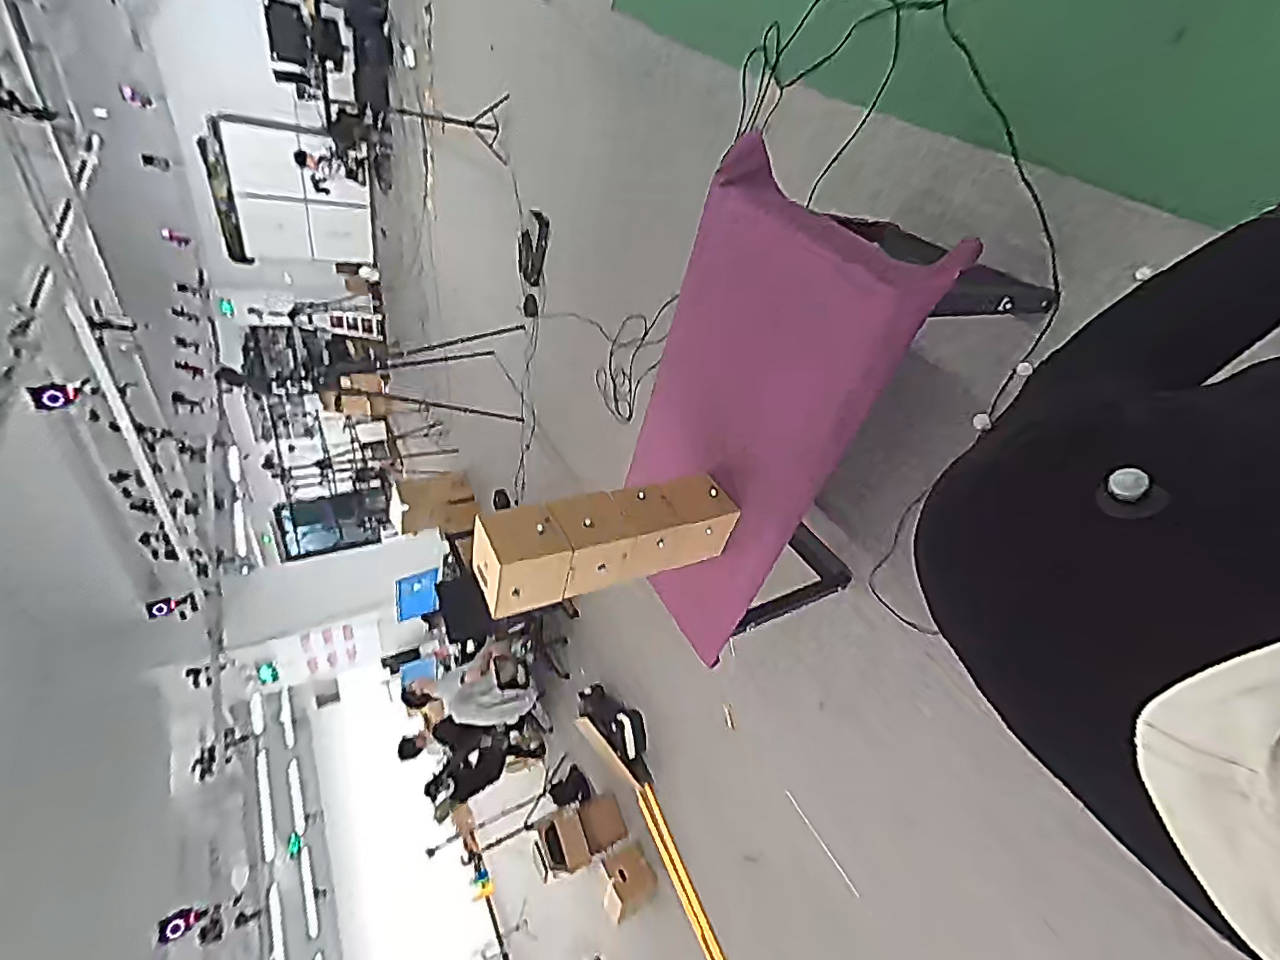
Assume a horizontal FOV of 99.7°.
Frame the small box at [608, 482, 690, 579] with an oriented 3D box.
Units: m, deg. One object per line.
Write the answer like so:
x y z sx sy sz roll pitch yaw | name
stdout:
0.009 0.125 1.409 0.168 0.176 0.179 53 140 37 | small box

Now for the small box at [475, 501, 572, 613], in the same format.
-0.268 0.172 1.239 0.168 0.176 0.179 52 138 38 | small box

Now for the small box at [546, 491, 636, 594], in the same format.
-0.131 0.146 1.328 0.179 0.176 0.168 52 138 37 | small box
